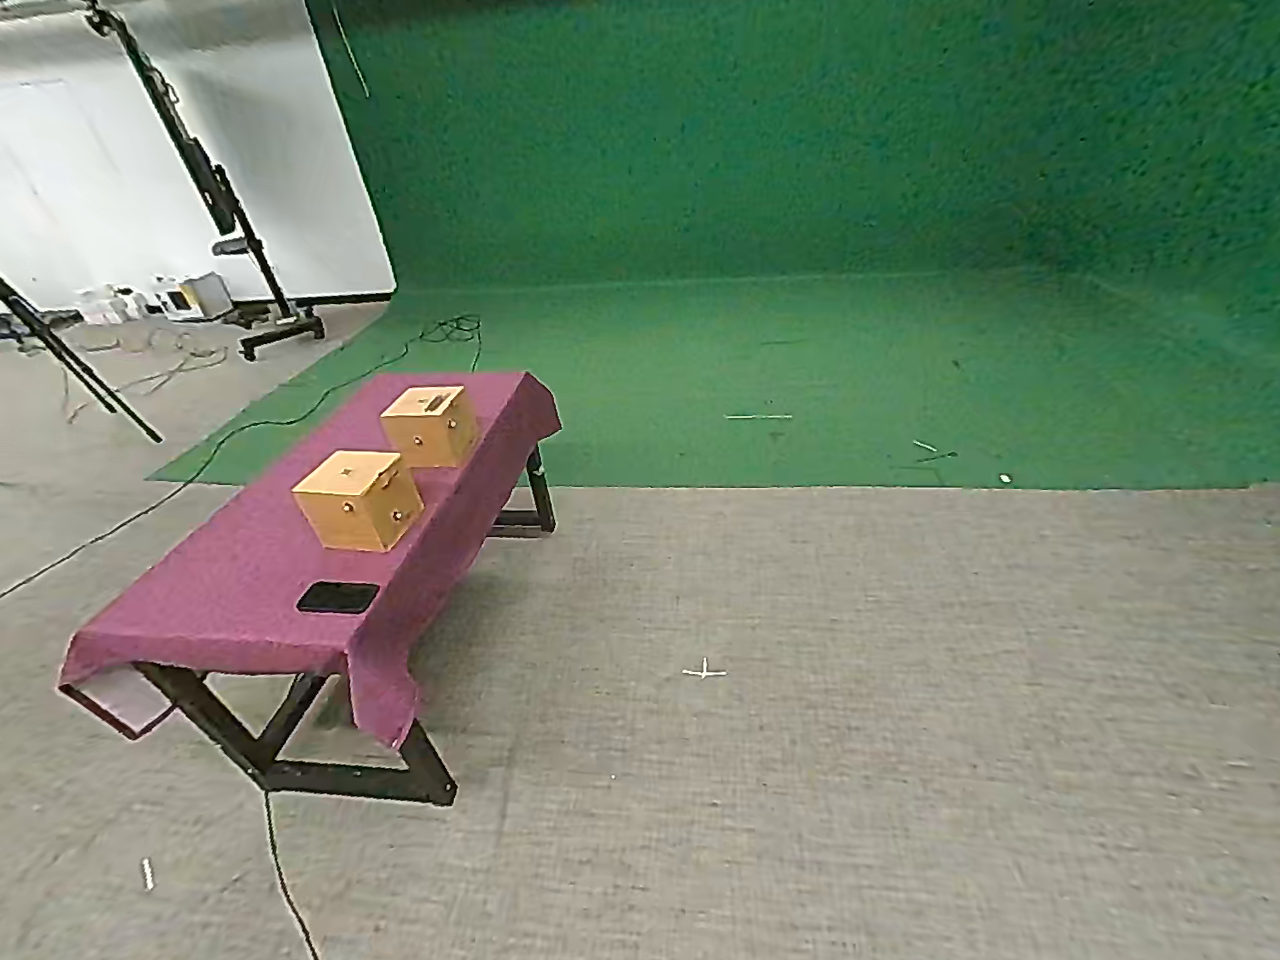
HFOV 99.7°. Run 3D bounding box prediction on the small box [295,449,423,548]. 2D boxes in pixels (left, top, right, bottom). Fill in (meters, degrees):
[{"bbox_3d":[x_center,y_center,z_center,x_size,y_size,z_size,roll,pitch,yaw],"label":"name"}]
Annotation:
[{"bbox_3d":[-0.643,0.043,1.259,0.179,0.176,0.168,4,37,11],"label":"small box"}]
